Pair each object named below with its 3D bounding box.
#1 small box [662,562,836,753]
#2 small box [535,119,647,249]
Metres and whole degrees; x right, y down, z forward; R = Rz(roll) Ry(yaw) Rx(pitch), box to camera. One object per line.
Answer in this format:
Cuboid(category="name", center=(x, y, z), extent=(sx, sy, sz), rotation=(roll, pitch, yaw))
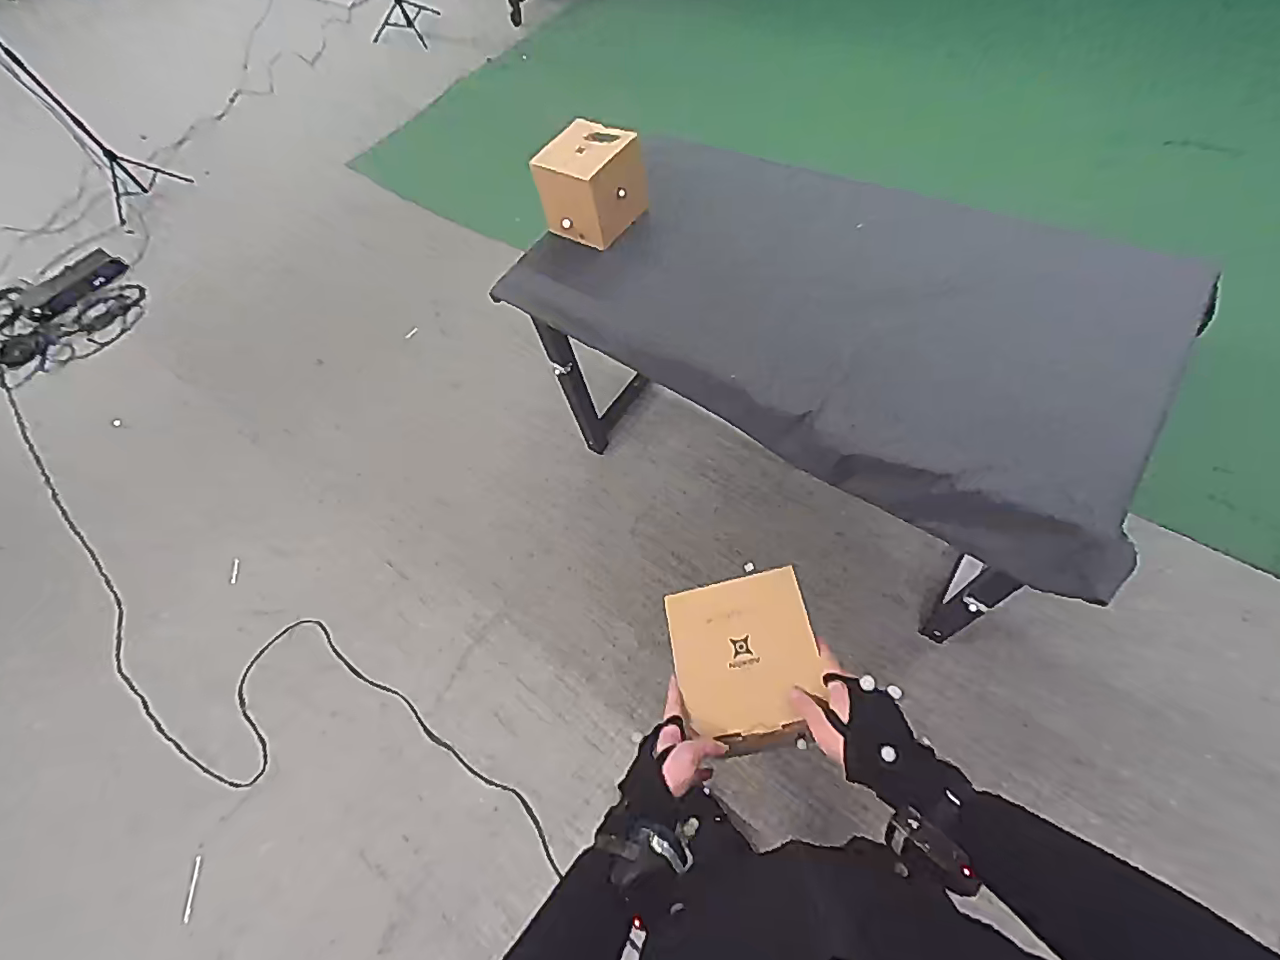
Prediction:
Cuboid(category="small box", center=(0.138, 0.231, 0.674), extent=(0.168, 0.176, 0.179), rotation=(-16, 53, 10))
Cuboid(category="small box", center=(-0.098, -0.649, 1.191), extent=(0.168, 0.176, 0.179), rotation=(29, 69, 23))
